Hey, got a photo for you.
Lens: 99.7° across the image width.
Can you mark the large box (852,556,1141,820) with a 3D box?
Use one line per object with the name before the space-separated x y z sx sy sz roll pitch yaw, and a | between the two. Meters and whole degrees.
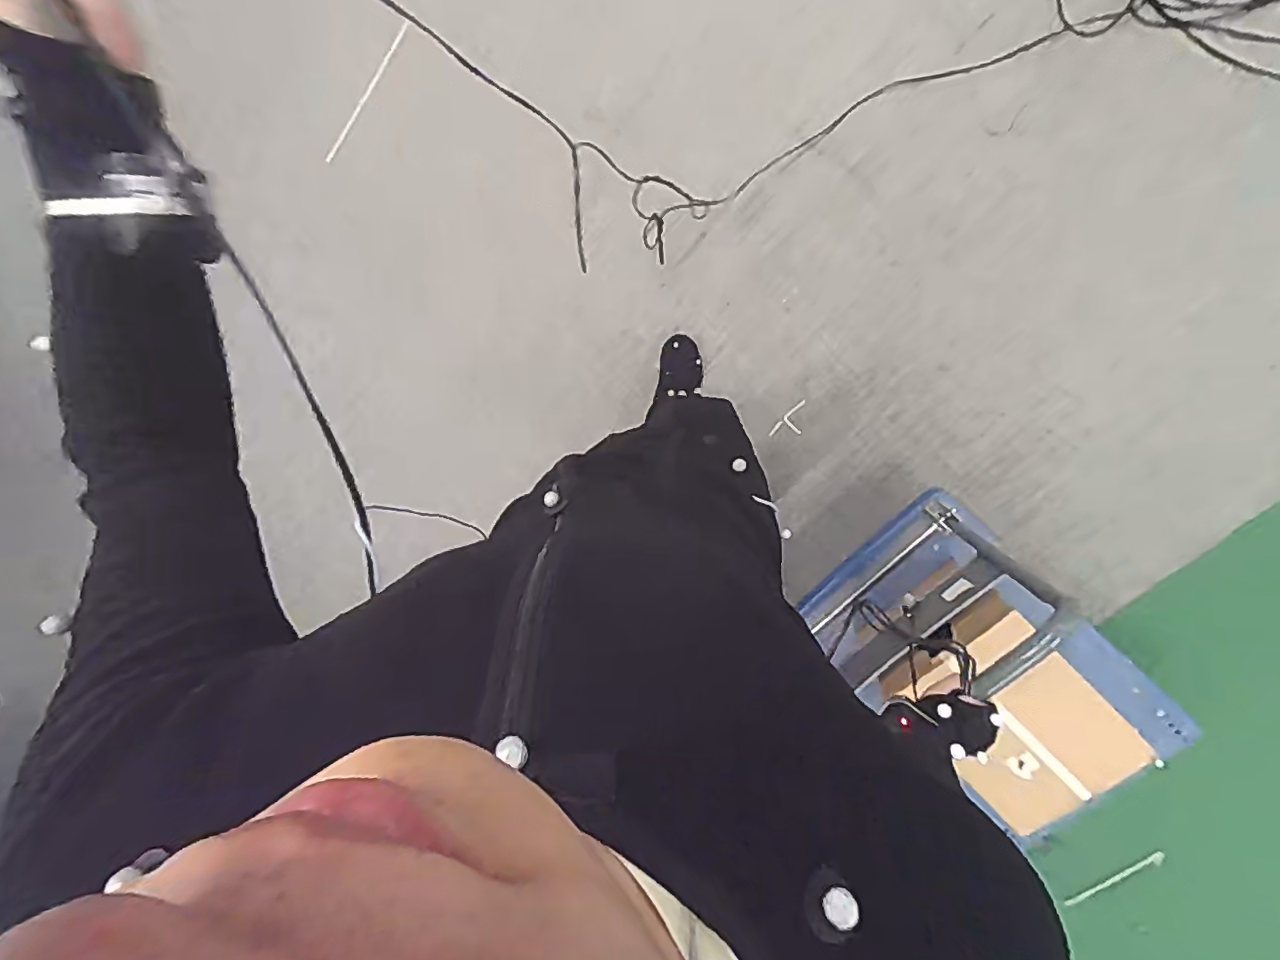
large box | 0.771 0.451 1.245 0.408 0.320 0.320 45 106 -1
